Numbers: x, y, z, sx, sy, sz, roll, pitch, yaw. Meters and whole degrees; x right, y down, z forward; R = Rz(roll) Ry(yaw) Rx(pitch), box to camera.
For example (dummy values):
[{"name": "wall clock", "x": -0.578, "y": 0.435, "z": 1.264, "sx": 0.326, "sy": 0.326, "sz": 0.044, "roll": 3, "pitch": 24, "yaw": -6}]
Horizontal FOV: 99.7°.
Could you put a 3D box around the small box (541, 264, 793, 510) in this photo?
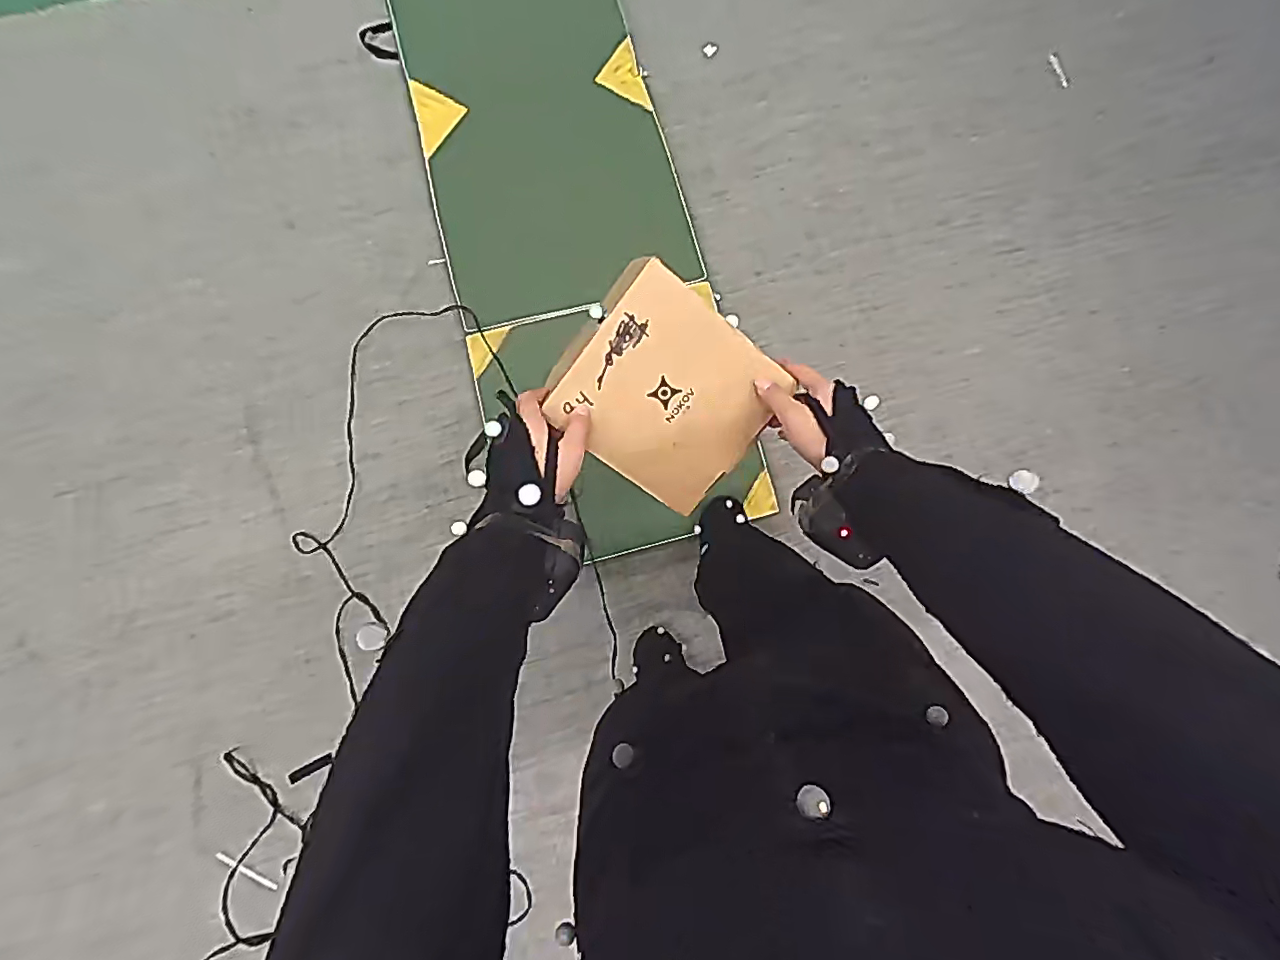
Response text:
[{"name": "small box", "x": 0.019, "y": -0.106, "z": 0.563, "sx": 0.179, "sy": 0.176, "sz": 0.168, "roll": 35, "pitch": 104, "yaw": -18}]
